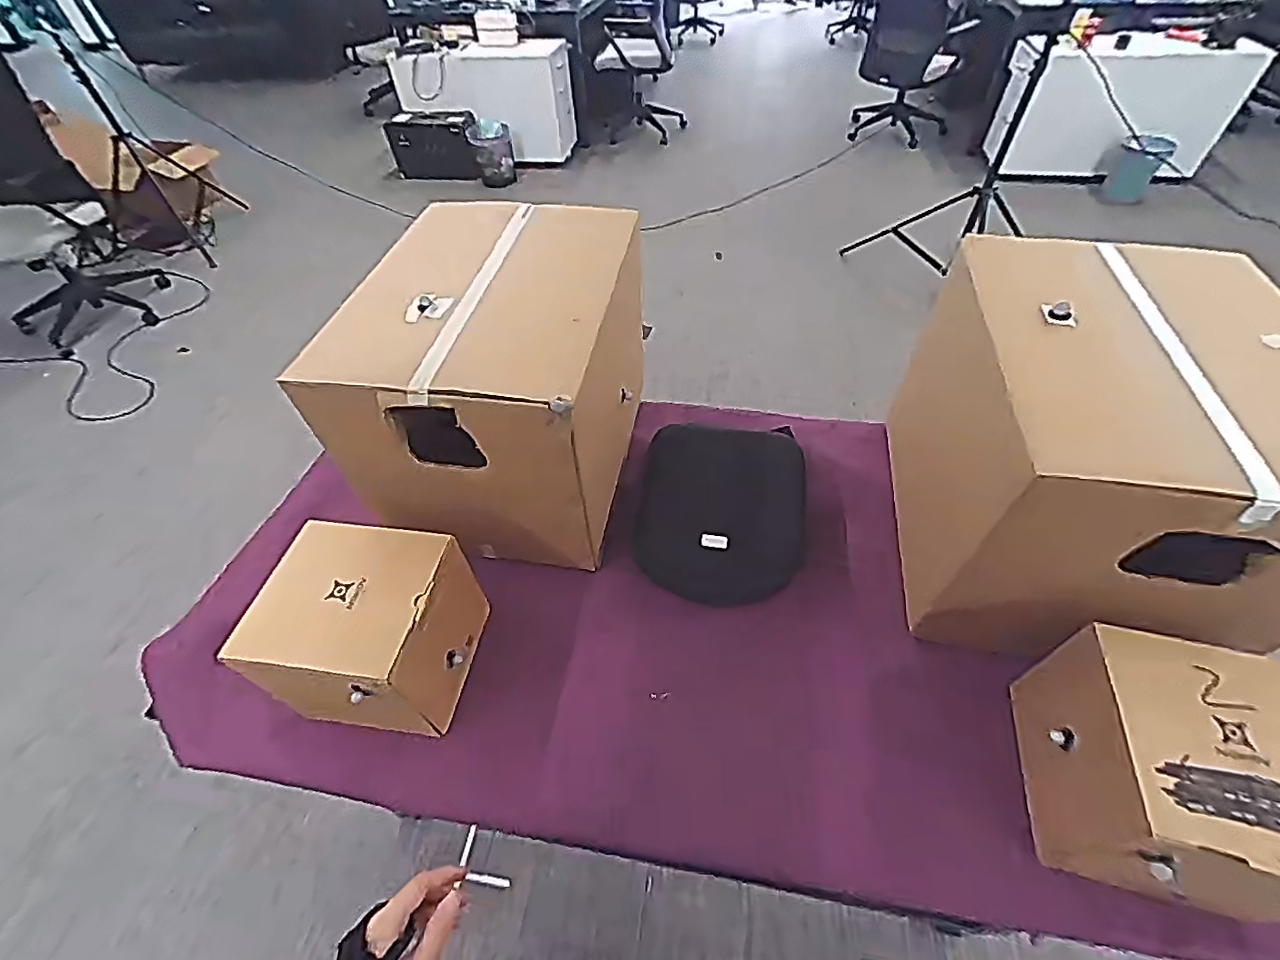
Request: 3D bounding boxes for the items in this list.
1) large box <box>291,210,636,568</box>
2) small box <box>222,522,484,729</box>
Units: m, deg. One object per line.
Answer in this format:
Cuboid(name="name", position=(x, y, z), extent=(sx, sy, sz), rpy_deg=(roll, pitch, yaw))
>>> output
Cuboid(name="large box", position=(-0.182, -0.134, 0.775), extent=(0.320, 0.320, 0.408), rpy_deg=(5, 52, 7))
Cuboid(name="small box", position=(-0.301, 0.167, 0.615), extent=(0.179, 0.176, 0.168), rpy_deg=(4, 49, 6))
